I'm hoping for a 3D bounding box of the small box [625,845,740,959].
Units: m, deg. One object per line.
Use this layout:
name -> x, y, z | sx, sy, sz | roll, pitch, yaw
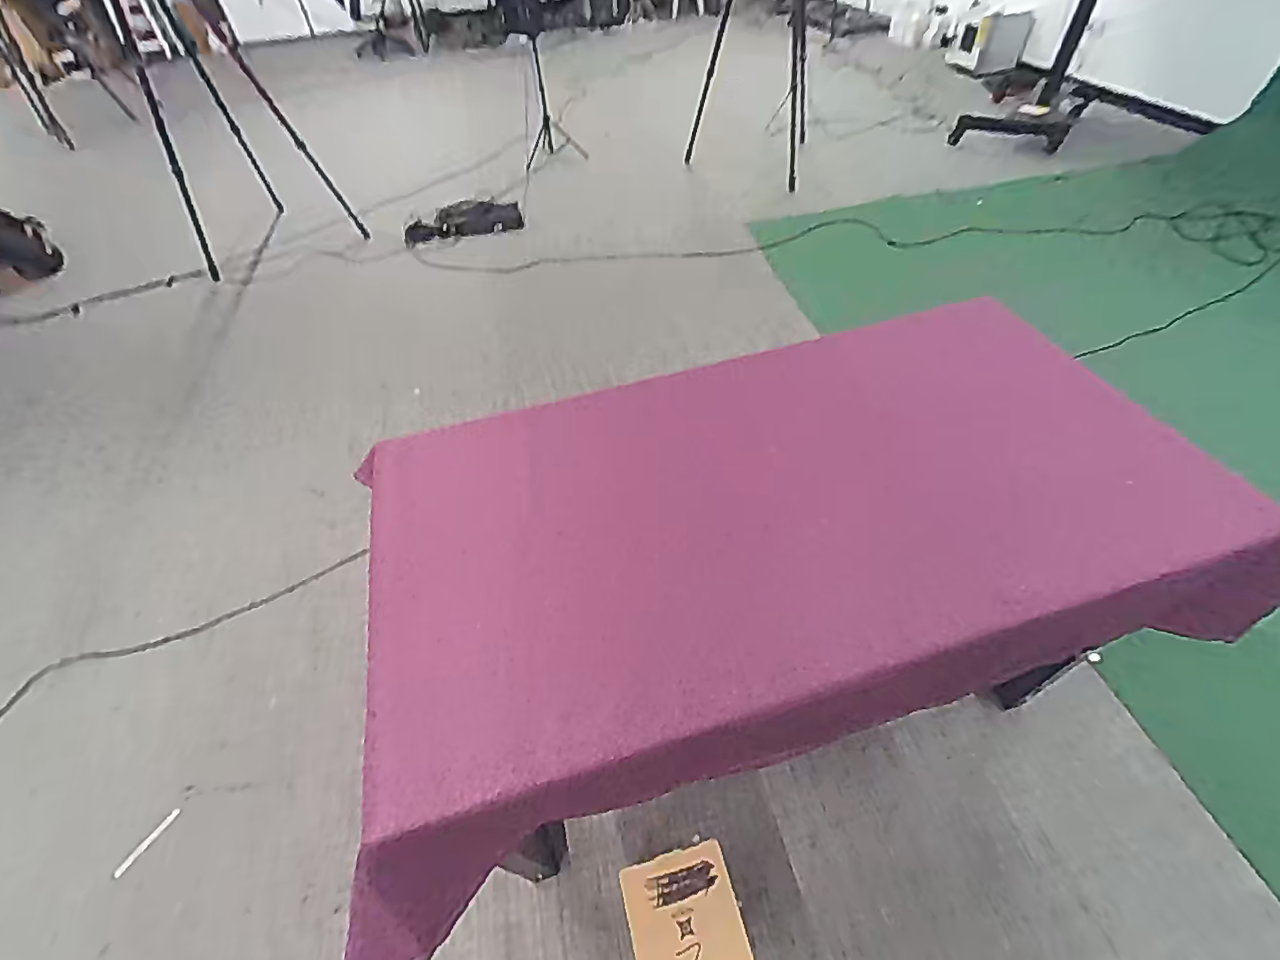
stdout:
small box -> 0.077, 0.810, 1.005 | 0.168, 0.176, 0.179 | -13, 50, -6
